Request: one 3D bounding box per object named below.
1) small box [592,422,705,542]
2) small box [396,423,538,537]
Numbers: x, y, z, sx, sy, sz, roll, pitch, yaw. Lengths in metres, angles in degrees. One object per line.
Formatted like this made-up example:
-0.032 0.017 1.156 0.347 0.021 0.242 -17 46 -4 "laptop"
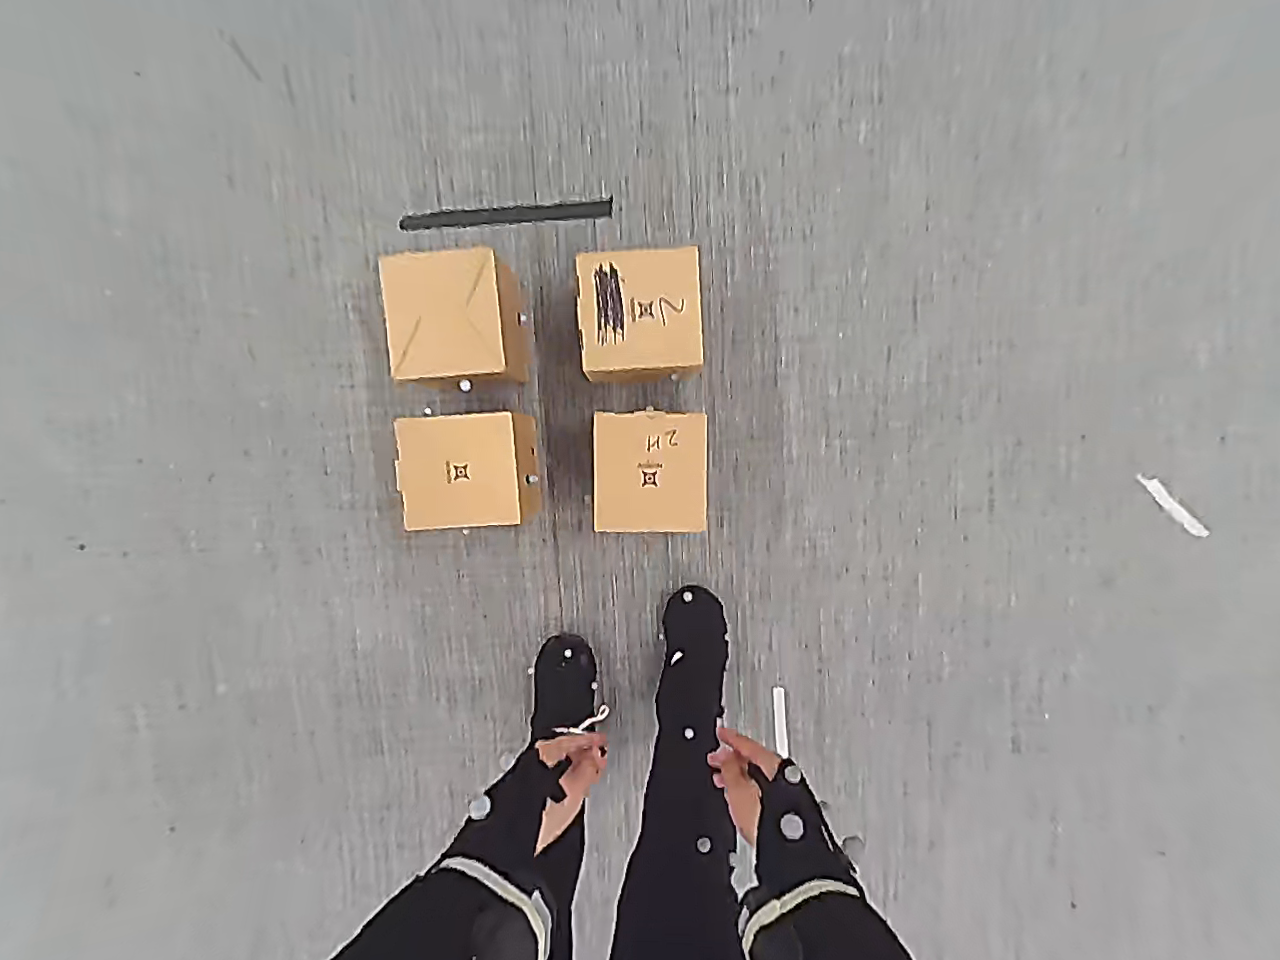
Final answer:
0.012 -0.003 0.870 0.168 0.176 0.179 0 94 -1 "small box"
-0.266 -0.007 0.873 0.179 0.176 0.168 -3 94 1 "small box"
